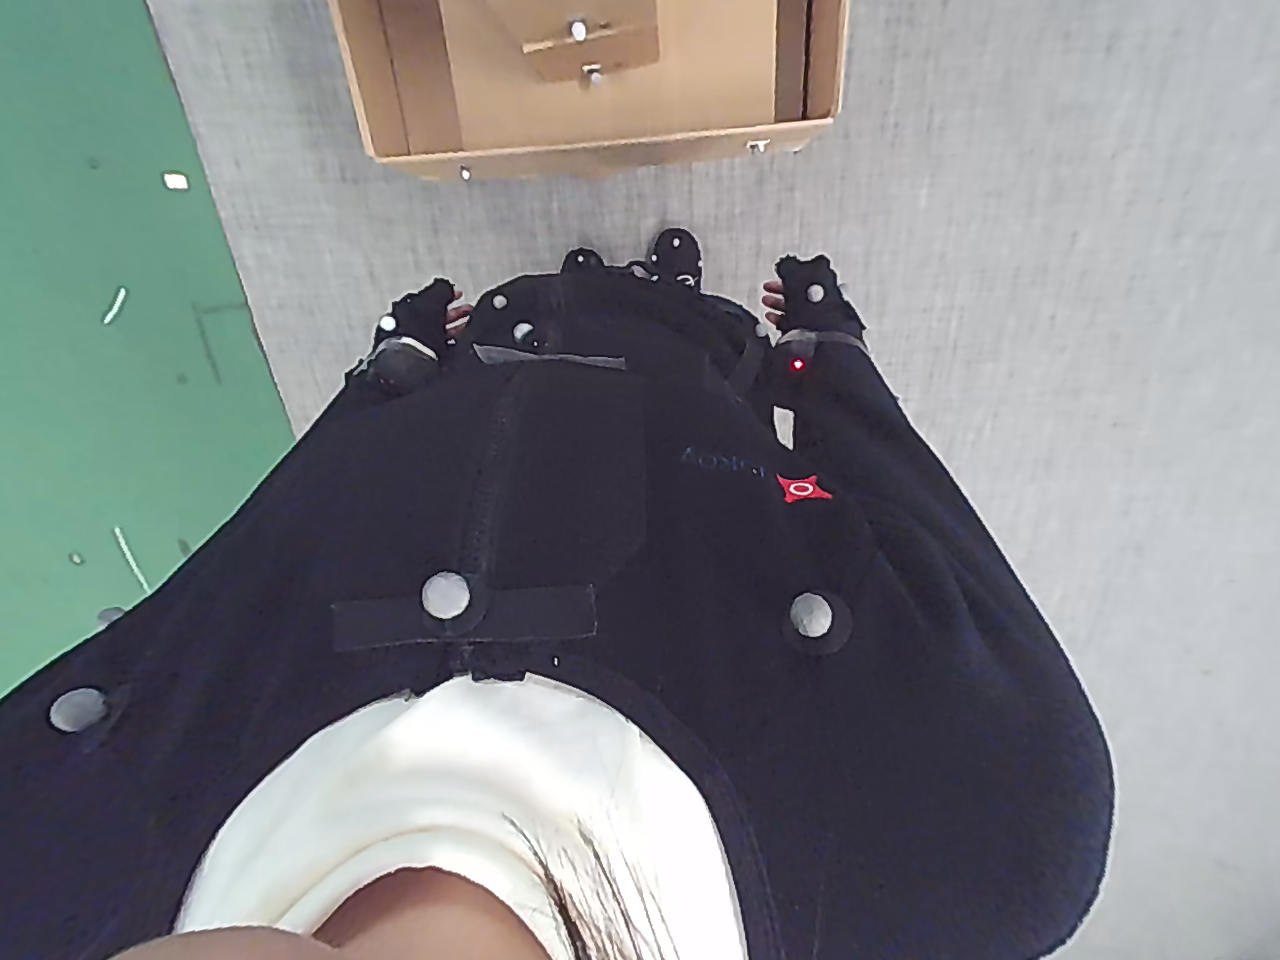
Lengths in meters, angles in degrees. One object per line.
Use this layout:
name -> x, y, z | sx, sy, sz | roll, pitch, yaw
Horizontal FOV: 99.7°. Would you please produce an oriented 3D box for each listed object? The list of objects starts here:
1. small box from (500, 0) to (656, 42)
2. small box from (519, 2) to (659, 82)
small box -> -0.074, -0.566, 0.522 | 0.168, 0.176, 0.179 | -4, 115, 6
small box -> -0.068, -0.632, 0.672 | 0.168, 0.176, 0.179 | -7, 115, 6
